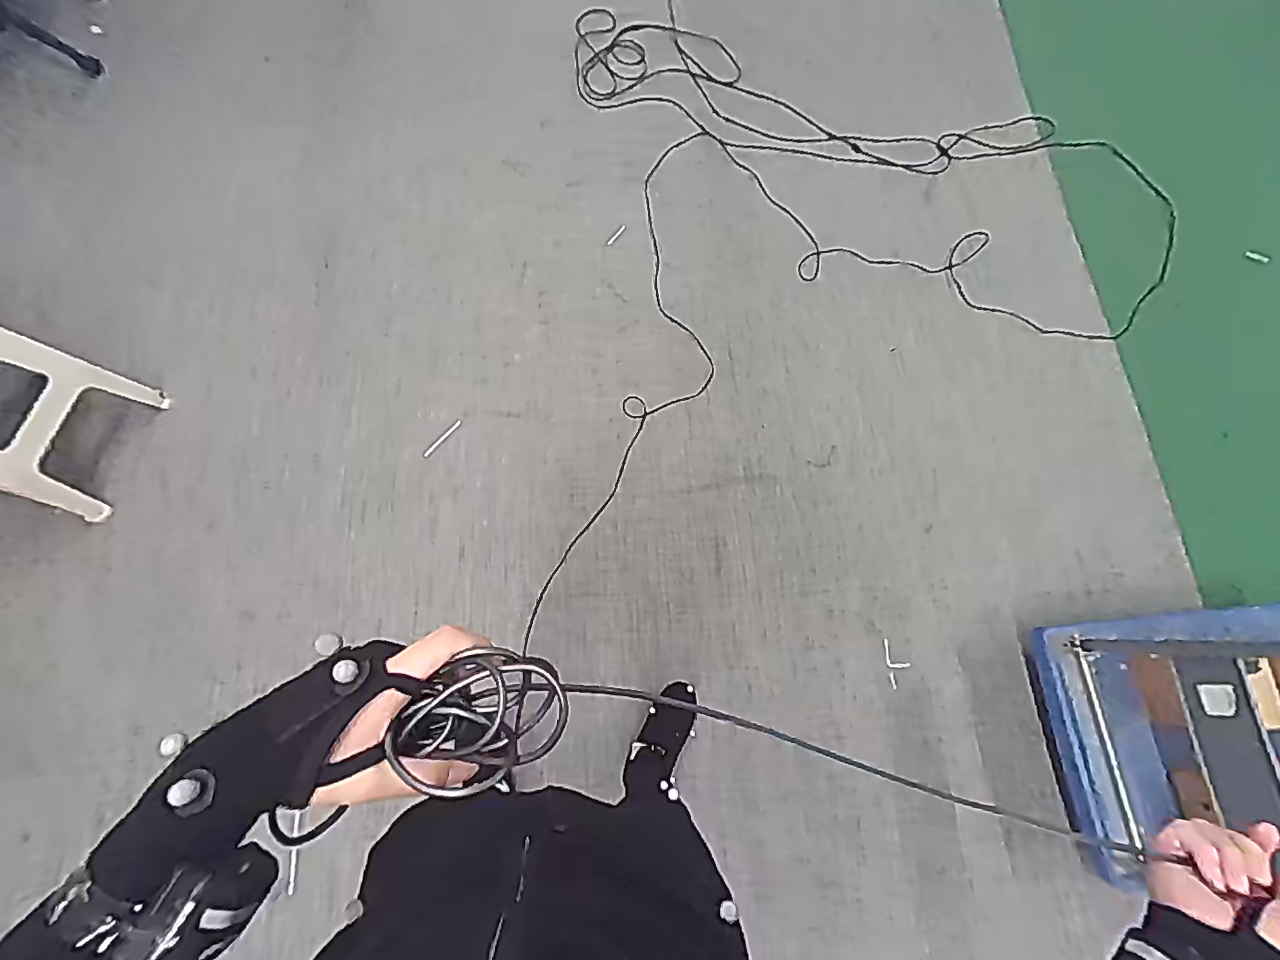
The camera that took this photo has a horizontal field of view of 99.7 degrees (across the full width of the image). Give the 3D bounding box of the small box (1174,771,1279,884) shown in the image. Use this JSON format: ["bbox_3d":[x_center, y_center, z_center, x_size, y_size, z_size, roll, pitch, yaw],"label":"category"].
[{"bbox_3d":[1.347,0.747,1.181,0.179,0.176,0.168,-2,74,-3],"label":"small box"}]

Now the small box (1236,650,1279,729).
[{"bbox_3d":[1.579,0.493,1.271,0.179,0.176,0.168,-7,75,-6],"label":"small box"}]
